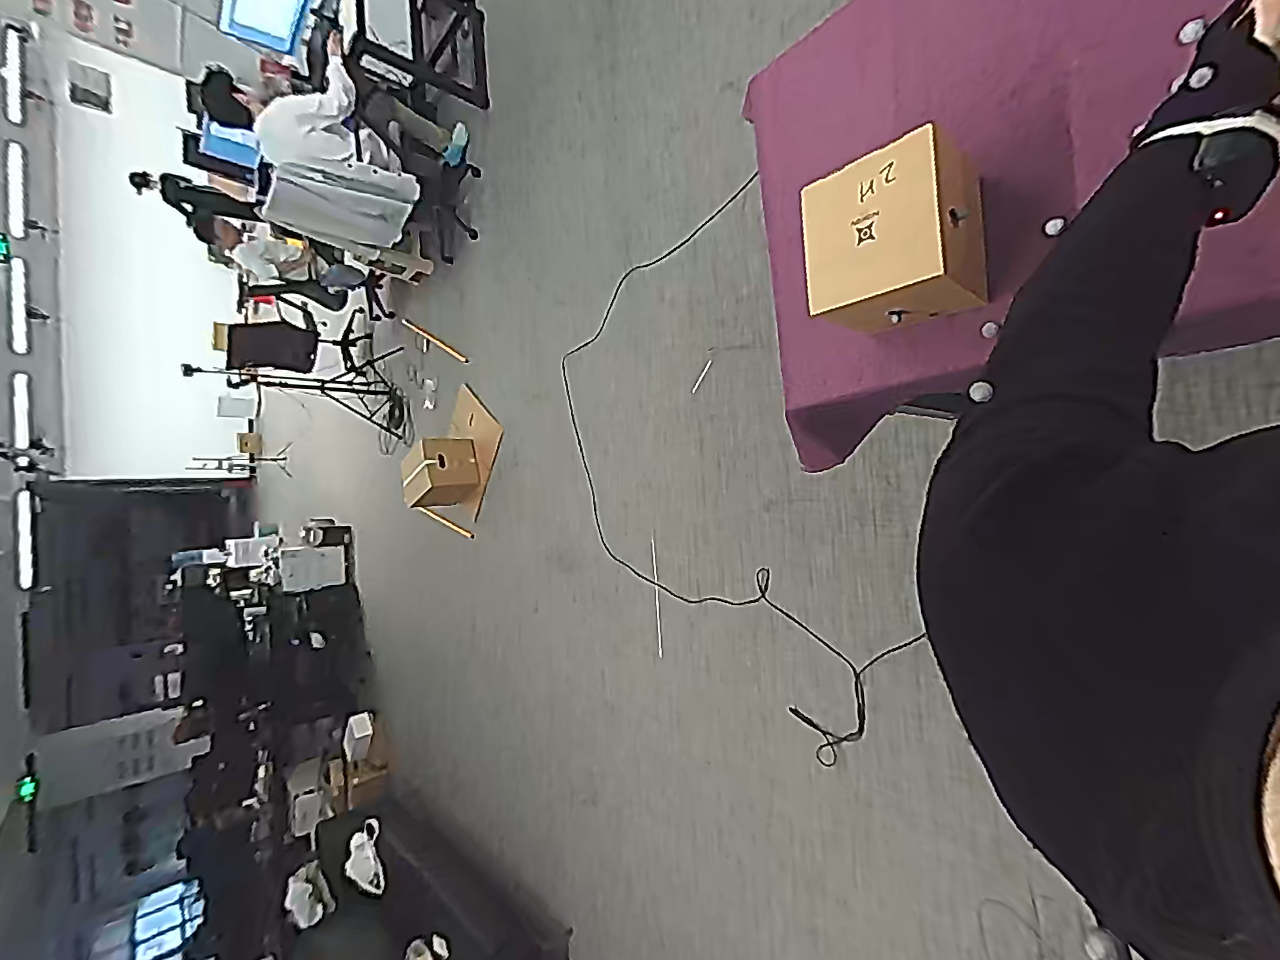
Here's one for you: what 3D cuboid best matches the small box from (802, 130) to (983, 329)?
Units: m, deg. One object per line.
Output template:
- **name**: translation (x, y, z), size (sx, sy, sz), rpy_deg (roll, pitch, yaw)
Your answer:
- **small box**: translation (0.336, -0.308, 0.716), size (0.168, 0.176, 0.179), rpy_deg (-5, 88, 47)
